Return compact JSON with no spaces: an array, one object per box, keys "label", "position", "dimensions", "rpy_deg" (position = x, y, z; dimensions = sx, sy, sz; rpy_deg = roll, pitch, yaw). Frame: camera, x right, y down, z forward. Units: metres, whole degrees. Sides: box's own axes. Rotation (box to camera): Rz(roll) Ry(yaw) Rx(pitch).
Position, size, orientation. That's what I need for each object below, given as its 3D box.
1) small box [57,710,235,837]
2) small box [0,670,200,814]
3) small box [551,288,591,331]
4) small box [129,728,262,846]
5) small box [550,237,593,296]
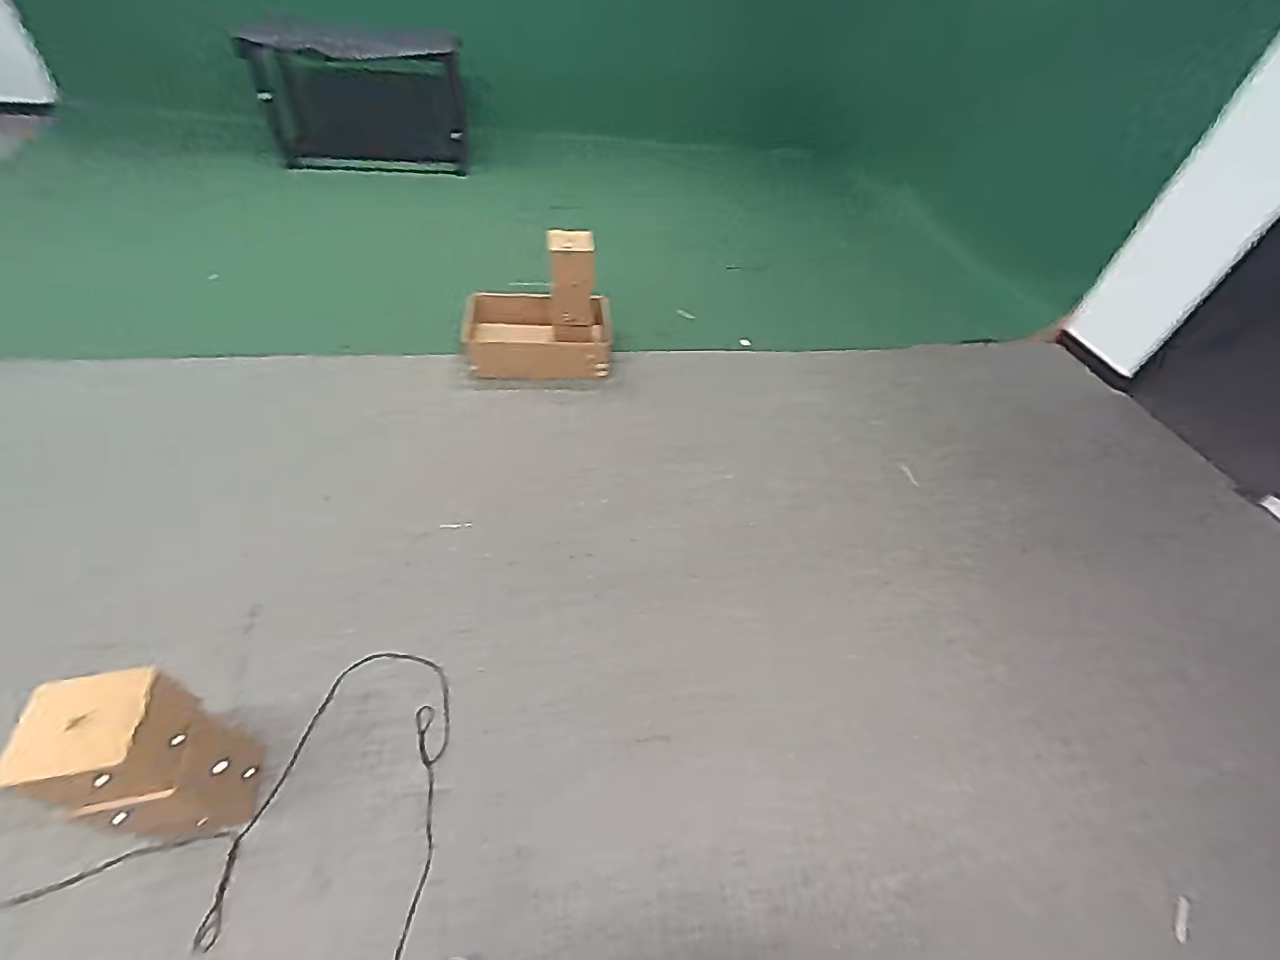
[{"label":"small box","position":[-0.946,0.575,1.058],"dimensions":[0.179,0.176,0.168],"rpy_deg":[-5,48,-13]},{"label":"small box","position":[-0.929,0.459,0.945],"dimensions":[0.179,0.176,0.168],"rpy_deg":[-6,48,-14]},{"label":"small box","position":[-0.297,-0.764,2.332],"dimensions":[0.168,0.176,0.179],"rpy_deg":[-1,49,-6]},{"label":"small box","position":[-0.968,0.674,1.187],"dimensions":[0.179,0.176,0.168],"rpy_deg":[-9,48,-14]},{"label":"small box","position":[-0.283,-0.874,2.210],"dimensions":[0.168,0.176,0.179],"rpy_deg":[-3,47,-8]}]
